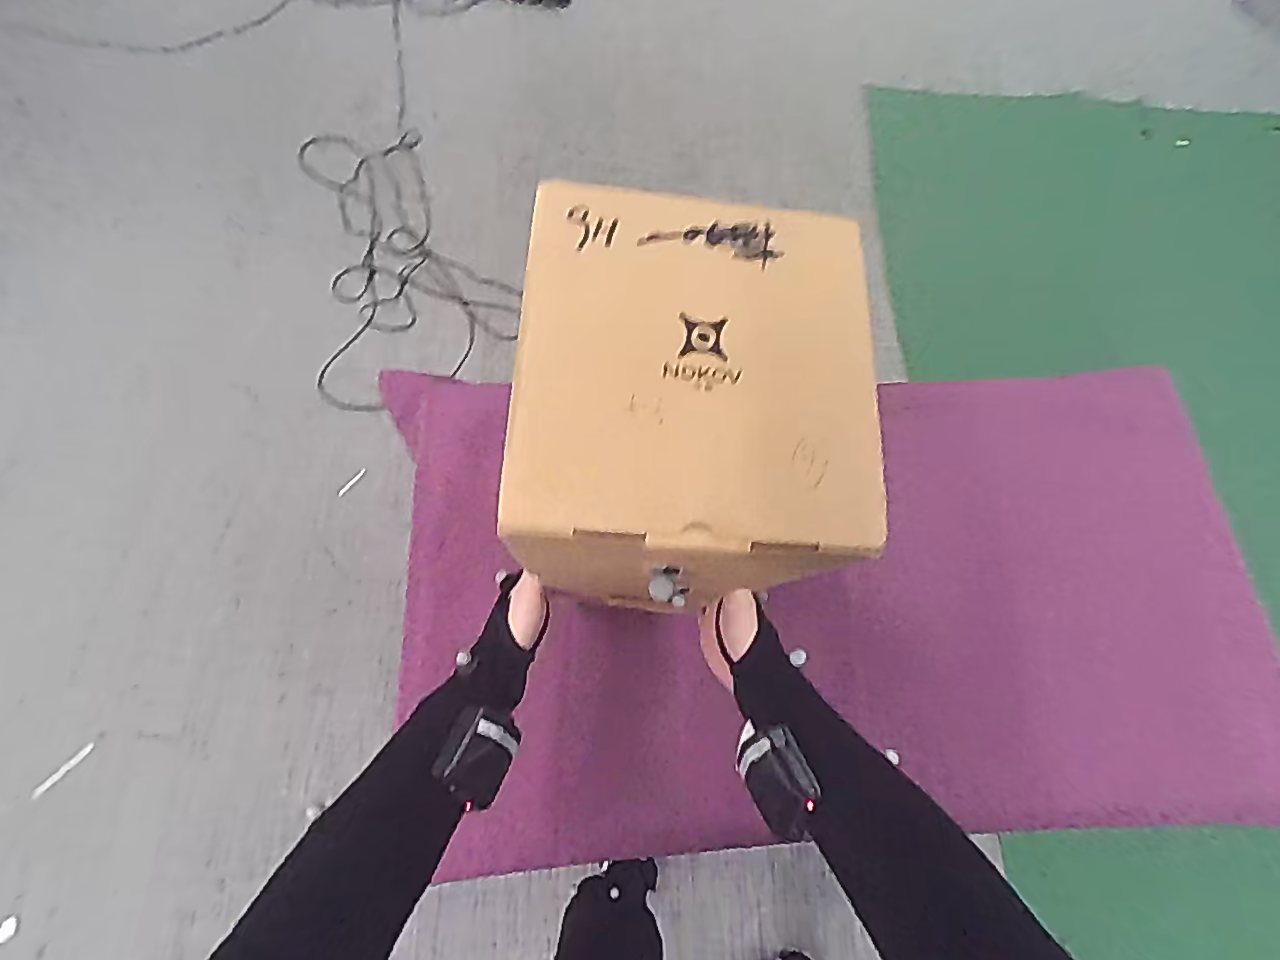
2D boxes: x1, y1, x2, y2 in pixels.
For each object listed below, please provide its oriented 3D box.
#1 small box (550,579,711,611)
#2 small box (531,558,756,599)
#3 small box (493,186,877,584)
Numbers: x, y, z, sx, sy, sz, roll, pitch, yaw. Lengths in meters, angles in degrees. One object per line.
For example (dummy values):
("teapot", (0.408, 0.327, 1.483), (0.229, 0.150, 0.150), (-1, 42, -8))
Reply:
("small box", (-0.007, 0.057, 0.636), (0.168, 0.176, 0.179), (6, 72, -4))
("small box", (0.004, 0.009, 0.480), (0.168, 0.176, 0.179), (5, 73, -5))
("small box", (0.017, -0.033, 0.323), (0.168, 0.176, 0.179), (4, 74, -5))
